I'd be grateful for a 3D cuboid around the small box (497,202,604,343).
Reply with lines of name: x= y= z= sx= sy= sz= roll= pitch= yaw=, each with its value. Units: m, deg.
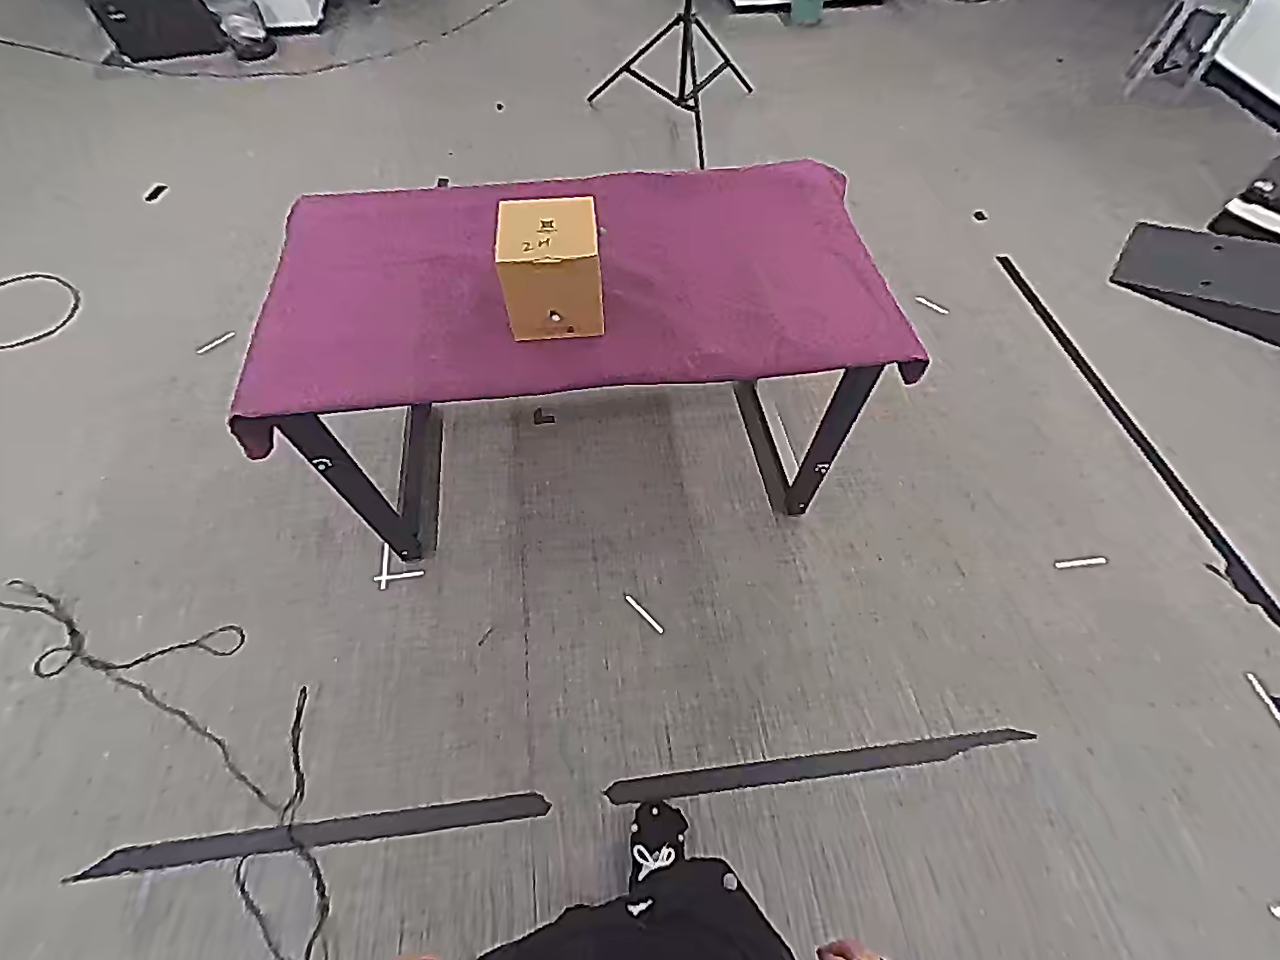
small box: x=-0.154 y=-0.373 z=0.978 sx=0.168 sy=0.176 sz=0.179 roll=-5 pitch=58 yaw=-2
